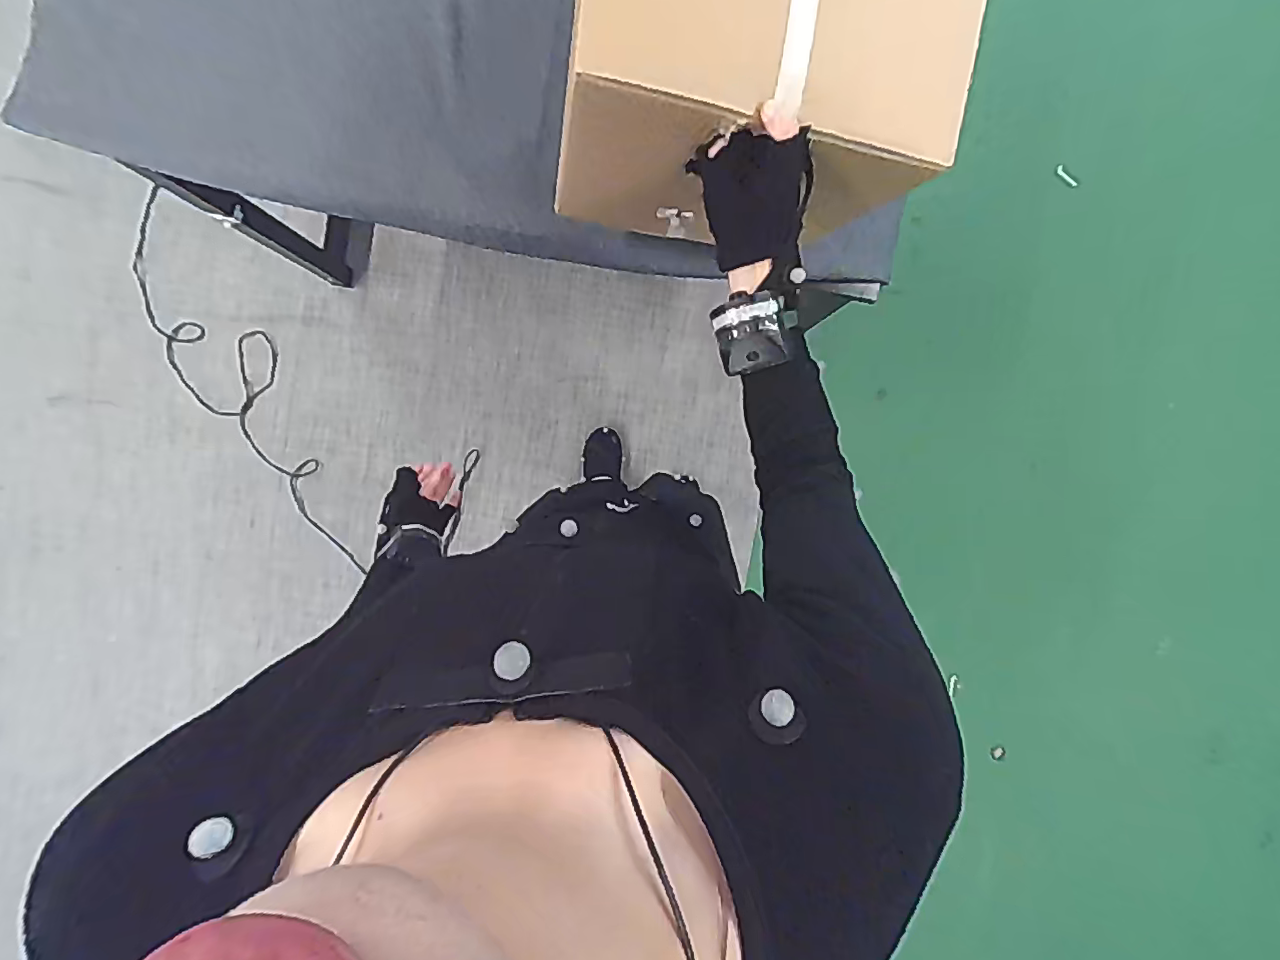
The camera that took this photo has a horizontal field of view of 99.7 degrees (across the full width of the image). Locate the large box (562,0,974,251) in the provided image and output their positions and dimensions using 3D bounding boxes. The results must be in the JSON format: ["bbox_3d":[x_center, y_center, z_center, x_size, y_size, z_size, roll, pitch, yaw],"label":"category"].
[{"bbox_3d":[0.097,-0.491,0.532,0.320,0.320,0.408,6,97,-12],"label":"large box"}]
